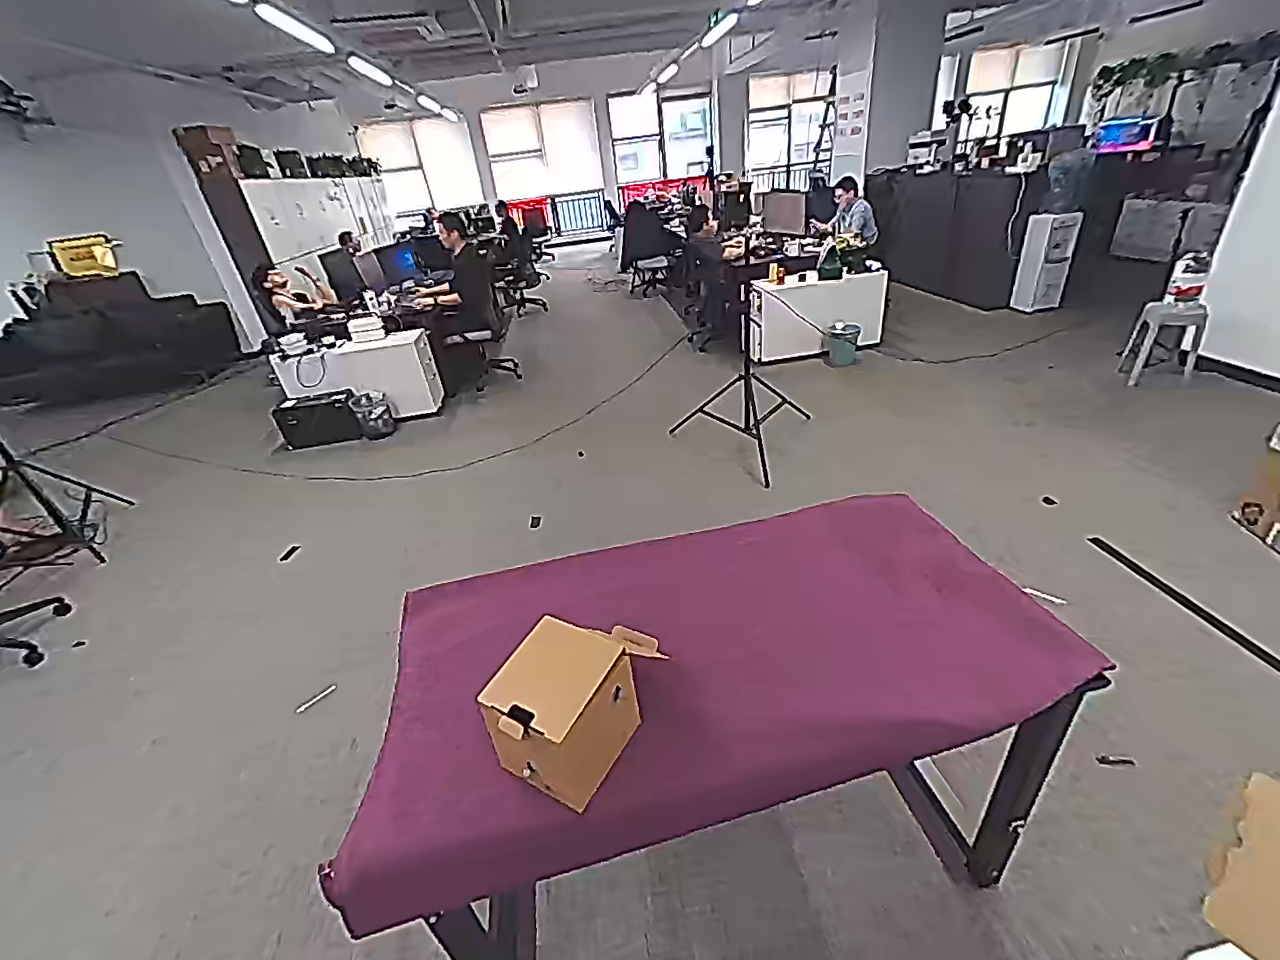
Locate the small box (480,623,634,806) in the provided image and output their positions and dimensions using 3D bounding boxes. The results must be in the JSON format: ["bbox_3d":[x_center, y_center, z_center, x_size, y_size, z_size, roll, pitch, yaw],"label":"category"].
[{"bbox_3d":[-0.122,0.369,0.868,0.168,0.176,0.179,11,34,31],"label":"small box"}]
